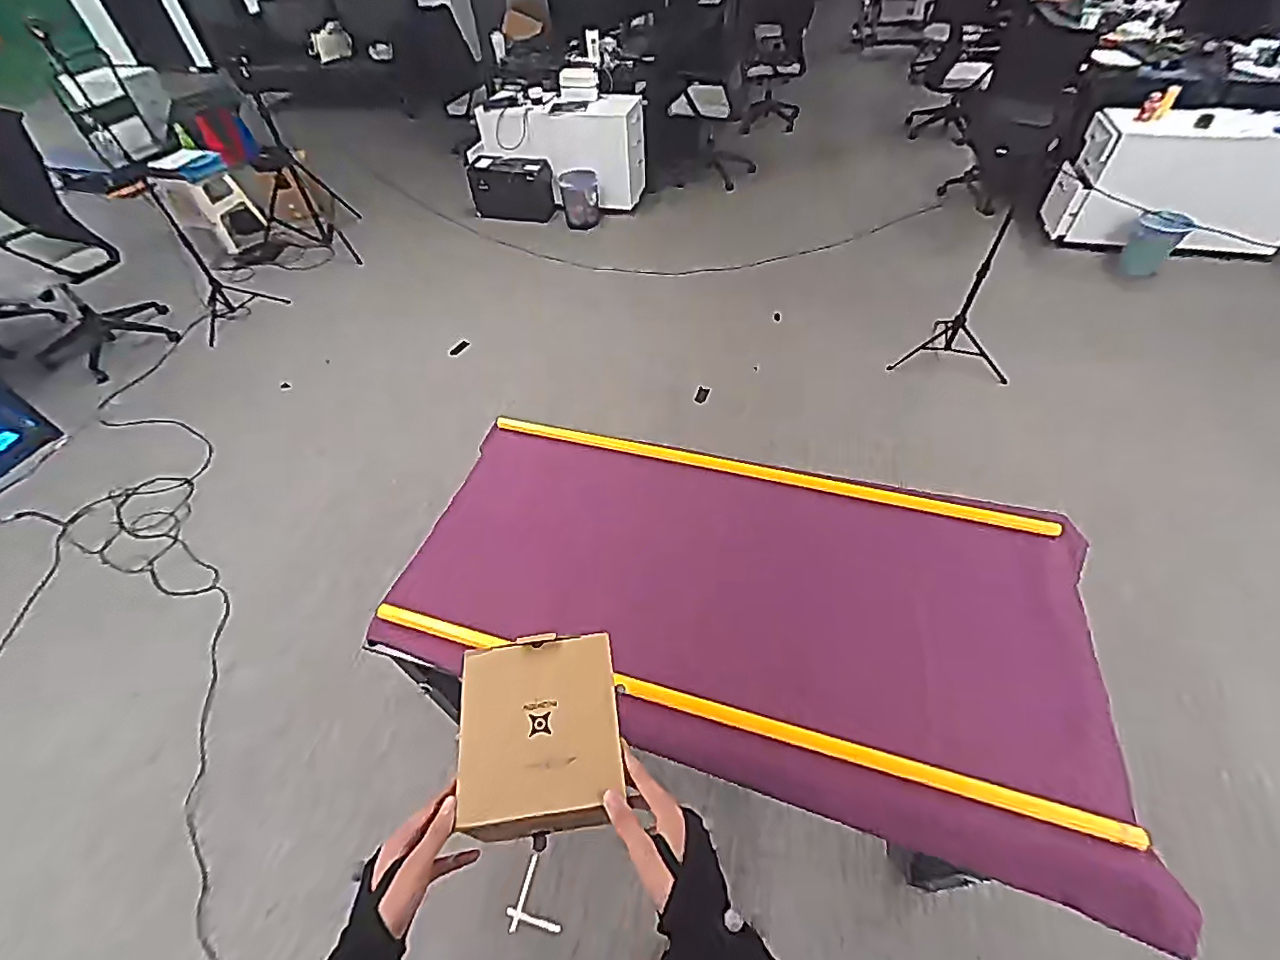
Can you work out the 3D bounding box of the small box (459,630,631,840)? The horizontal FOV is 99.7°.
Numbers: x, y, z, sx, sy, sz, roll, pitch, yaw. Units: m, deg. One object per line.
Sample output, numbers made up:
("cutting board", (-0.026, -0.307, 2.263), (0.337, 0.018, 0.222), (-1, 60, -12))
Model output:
("small box", (-0.104, 0.297, 0.629), (0.168, 0.176, 0.179), (-5, 52, -6))
